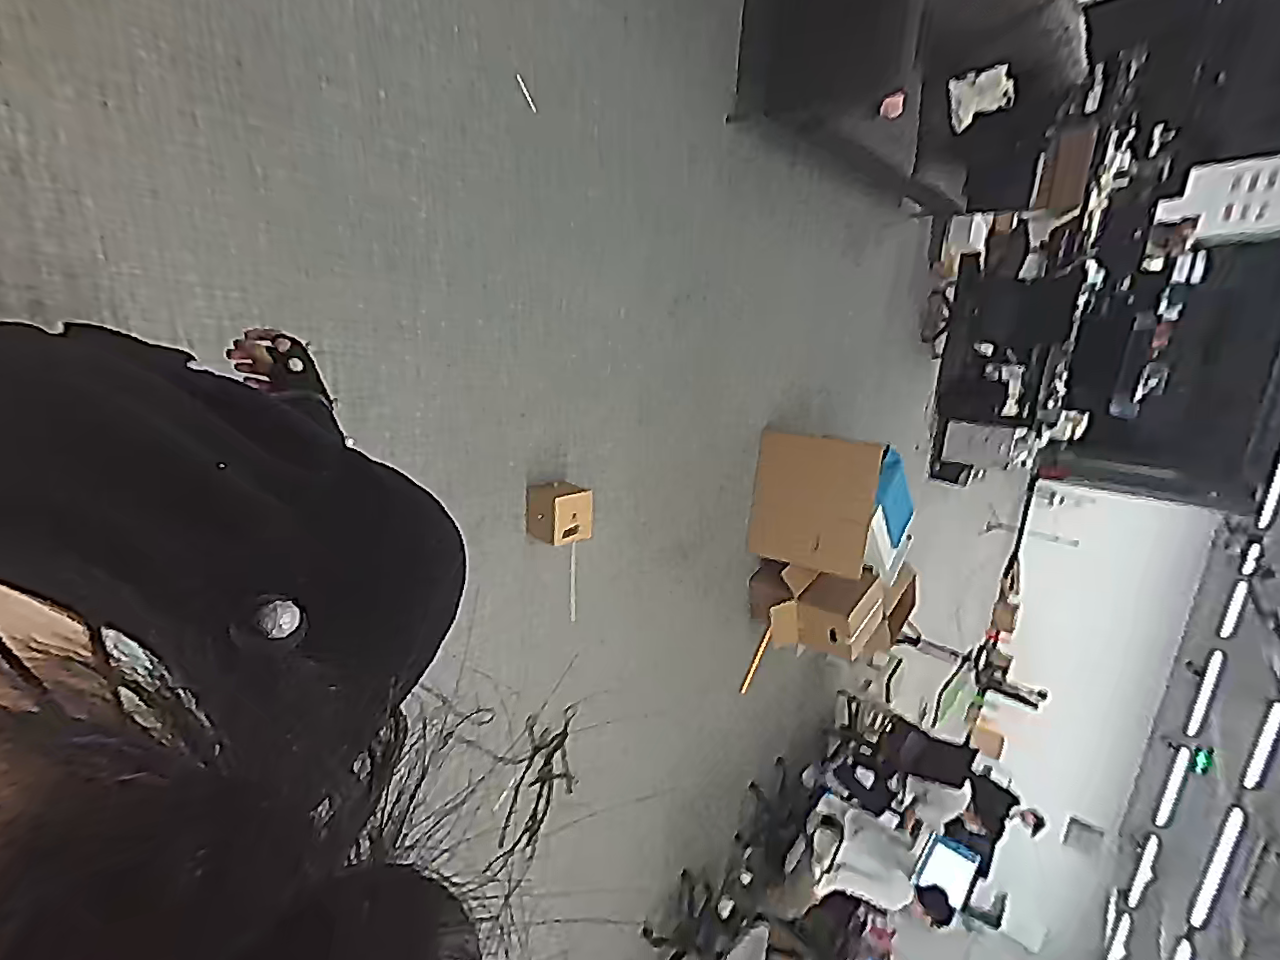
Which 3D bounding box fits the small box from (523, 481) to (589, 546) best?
[{"bbox_3d":[-0.296,0.111,1.887,0.168,0.176,0.179,-11,109,-46],"label":"small box"}]
